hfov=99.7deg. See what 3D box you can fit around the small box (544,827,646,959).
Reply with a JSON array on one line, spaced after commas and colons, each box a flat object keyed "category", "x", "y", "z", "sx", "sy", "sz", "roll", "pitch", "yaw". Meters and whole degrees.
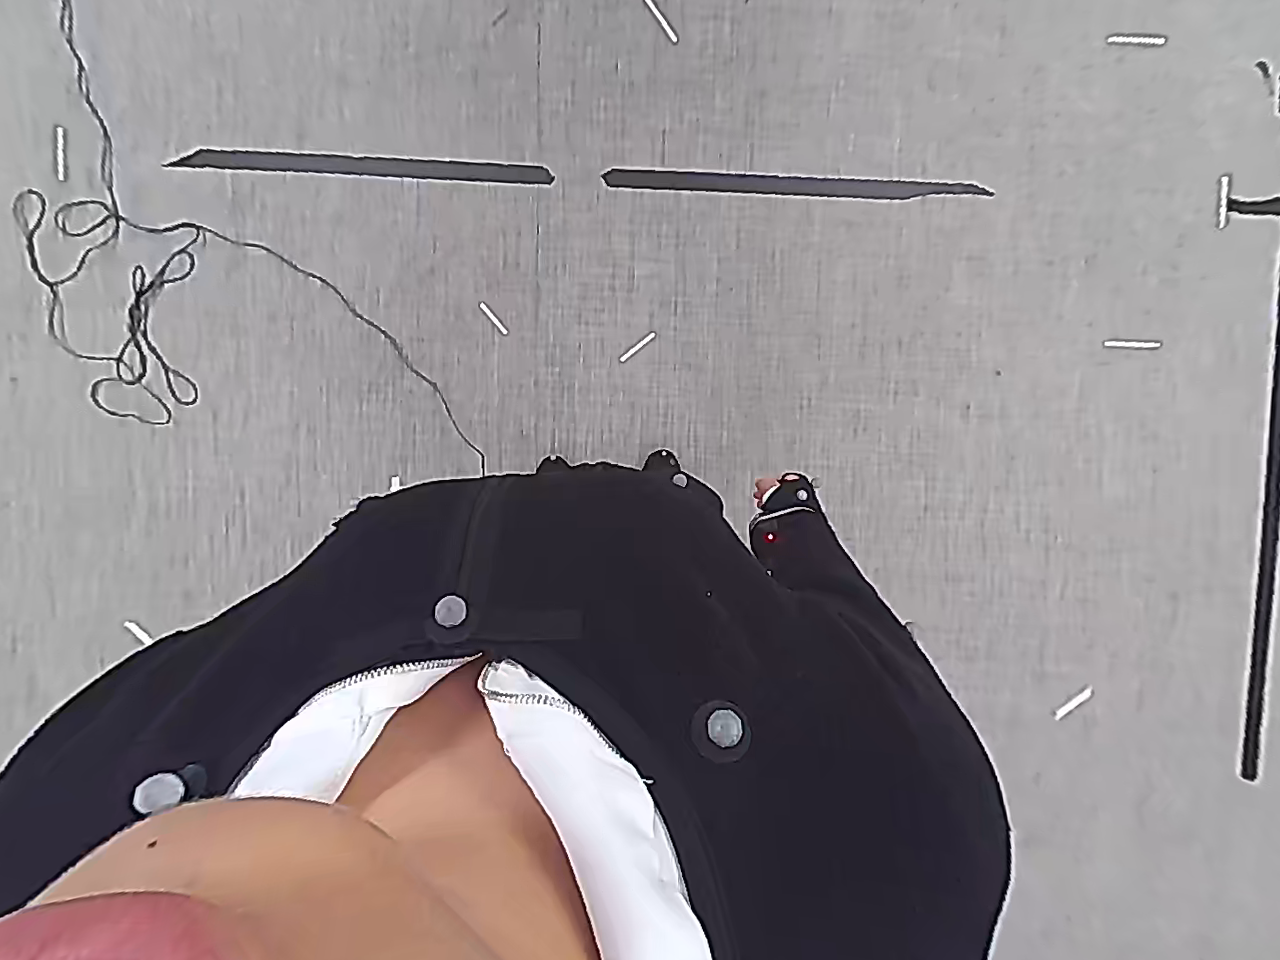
[{"category": "small box", "x": -0.074, "y": 0.758, "z": 0.960, "sx": 0.168, "sy": 0.176, "sz": 0.179, "roll": 2, "pitch": 89, "yaw": -1}]
